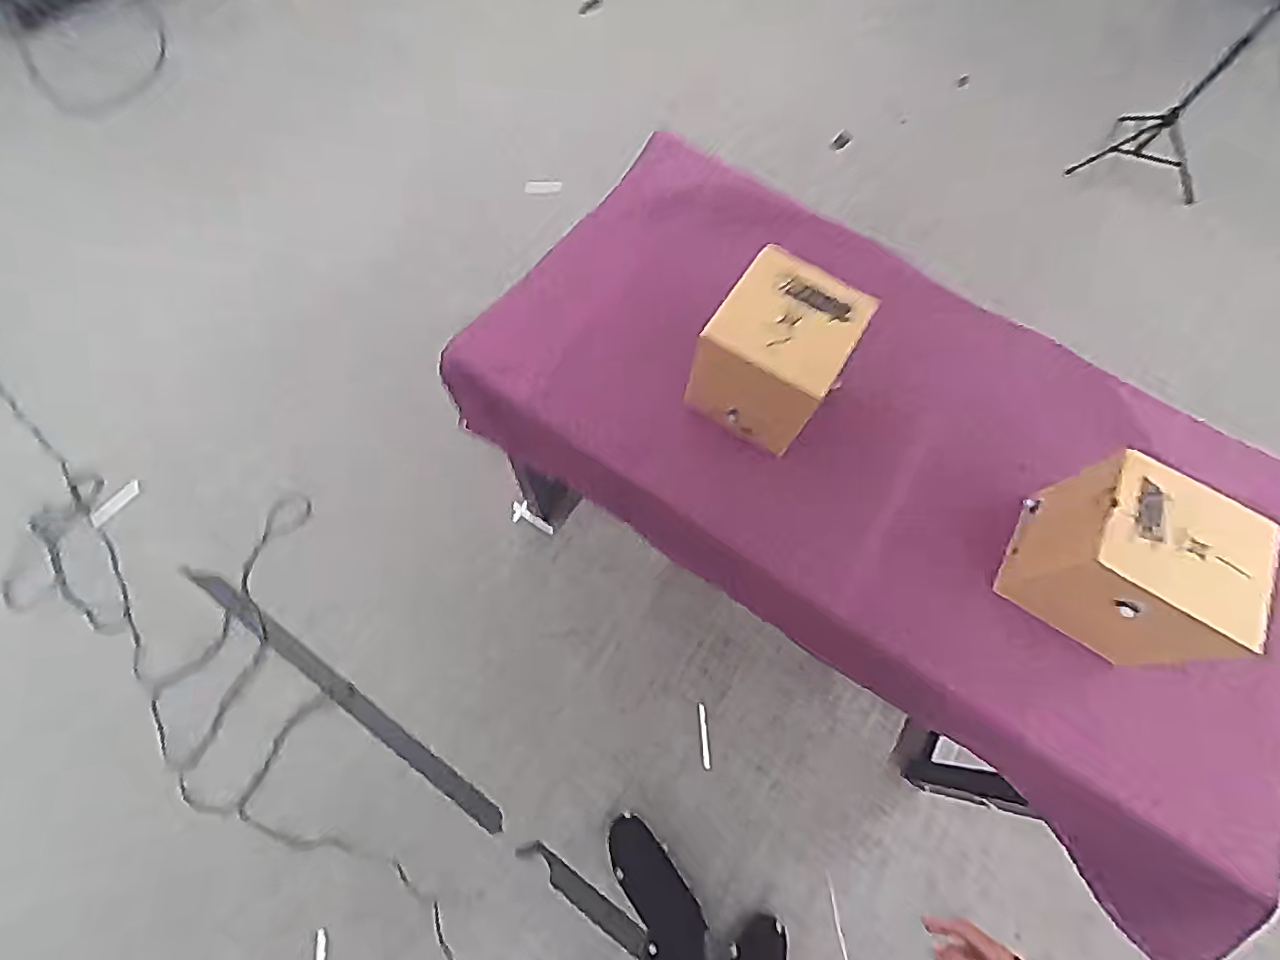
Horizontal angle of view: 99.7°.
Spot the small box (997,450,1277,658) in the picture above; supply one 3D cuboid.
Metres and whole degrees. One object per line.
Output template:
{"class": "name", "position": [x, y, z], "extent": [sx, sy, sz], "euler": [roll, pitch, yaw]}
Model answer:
{"class": "small box", "position": [0.586, 0.100, 0.659], "extent": [0.179, 0.176, 0.168], "euler": [32, 69, 9]}
